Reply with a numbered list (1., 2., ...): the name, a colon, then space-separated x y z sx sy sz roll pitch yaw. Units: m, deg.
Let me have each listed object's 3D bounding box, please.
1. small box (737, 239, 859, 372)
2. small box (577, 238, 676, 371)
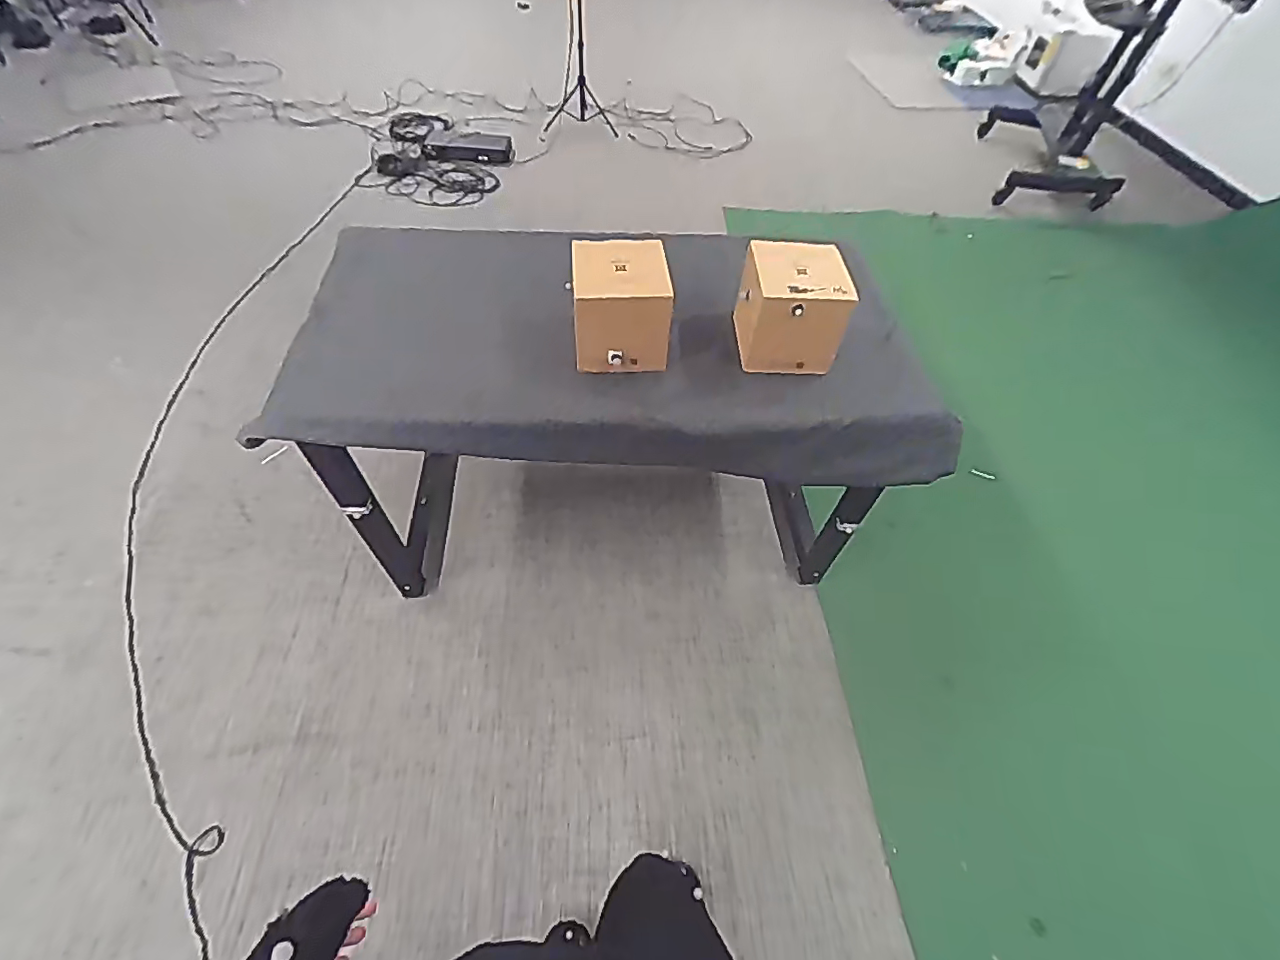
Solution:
1. small box: 0.284 -0.327 1.018 0.168 0.176 0.179 1 53 -2
2. small box: -0.031 -0.322 0.998 0.168 0.176 0.179 -4 55 -5
